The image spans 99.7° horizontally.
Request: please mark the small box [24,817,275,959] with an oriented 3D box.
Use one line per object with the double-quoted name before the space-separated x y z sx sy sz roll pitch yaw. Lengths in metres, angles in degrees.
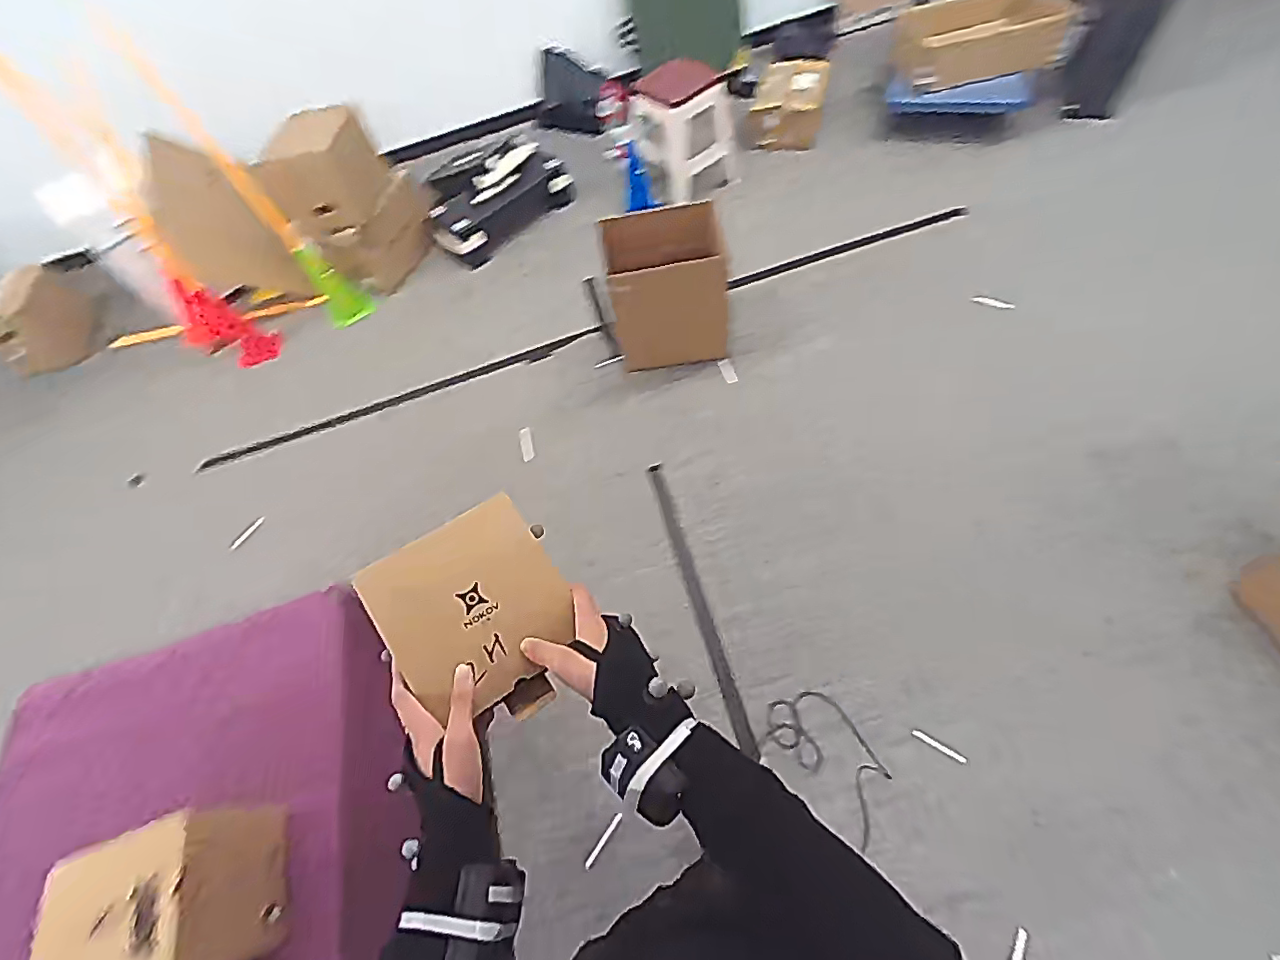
"small box" -0.594 0.543 0.676 0.179 0.176 0.168 -22 58 -2
